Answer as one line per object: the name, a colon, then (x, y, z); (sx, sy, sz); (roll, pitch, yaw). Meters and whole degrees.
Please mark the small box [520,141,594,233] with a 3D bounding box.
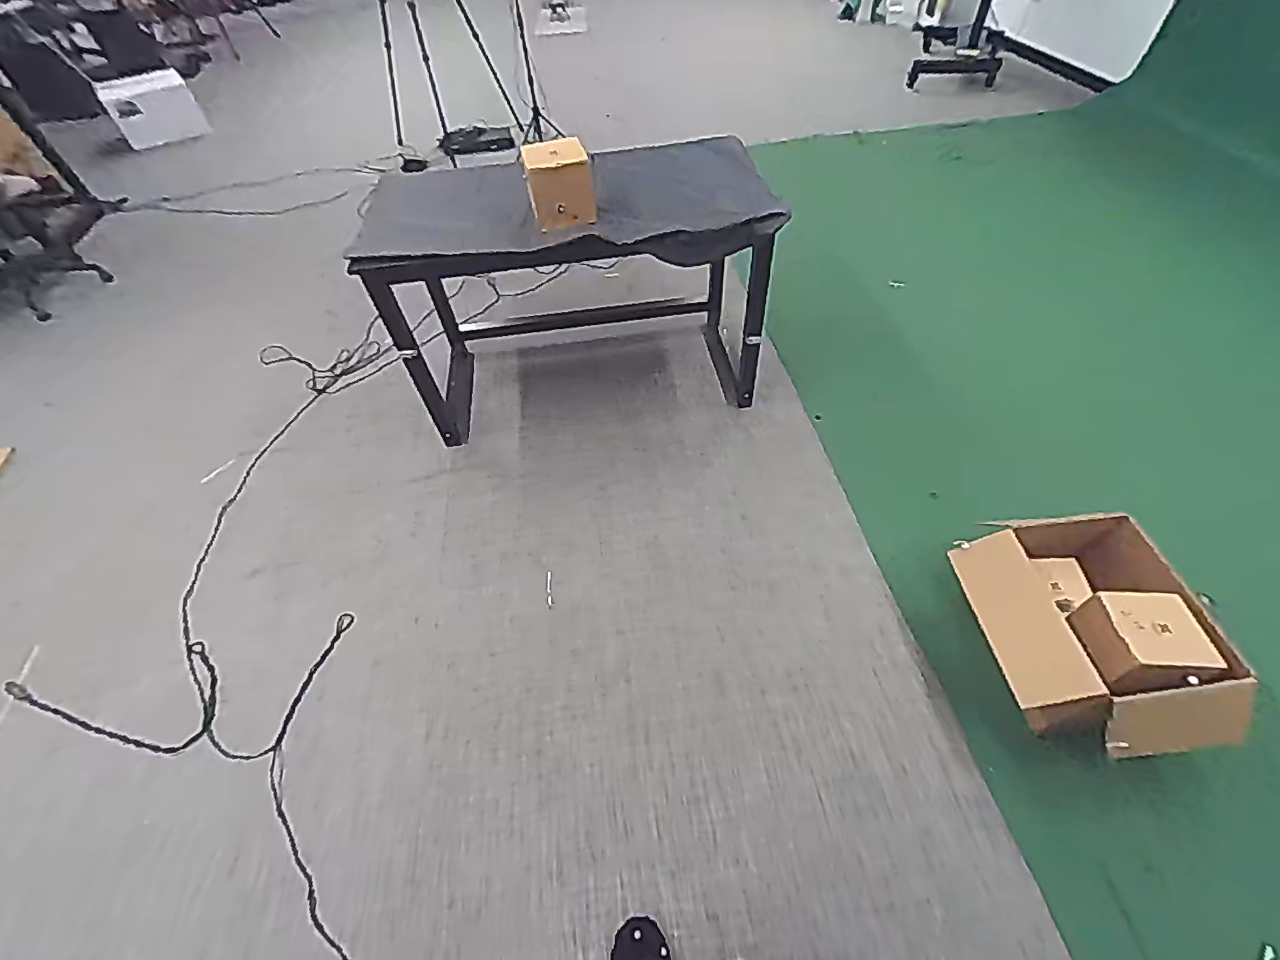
small box: (-0.233, -0.827, 1.528); (0.168, 0.176, 0.179); (-14, 52, -7)
